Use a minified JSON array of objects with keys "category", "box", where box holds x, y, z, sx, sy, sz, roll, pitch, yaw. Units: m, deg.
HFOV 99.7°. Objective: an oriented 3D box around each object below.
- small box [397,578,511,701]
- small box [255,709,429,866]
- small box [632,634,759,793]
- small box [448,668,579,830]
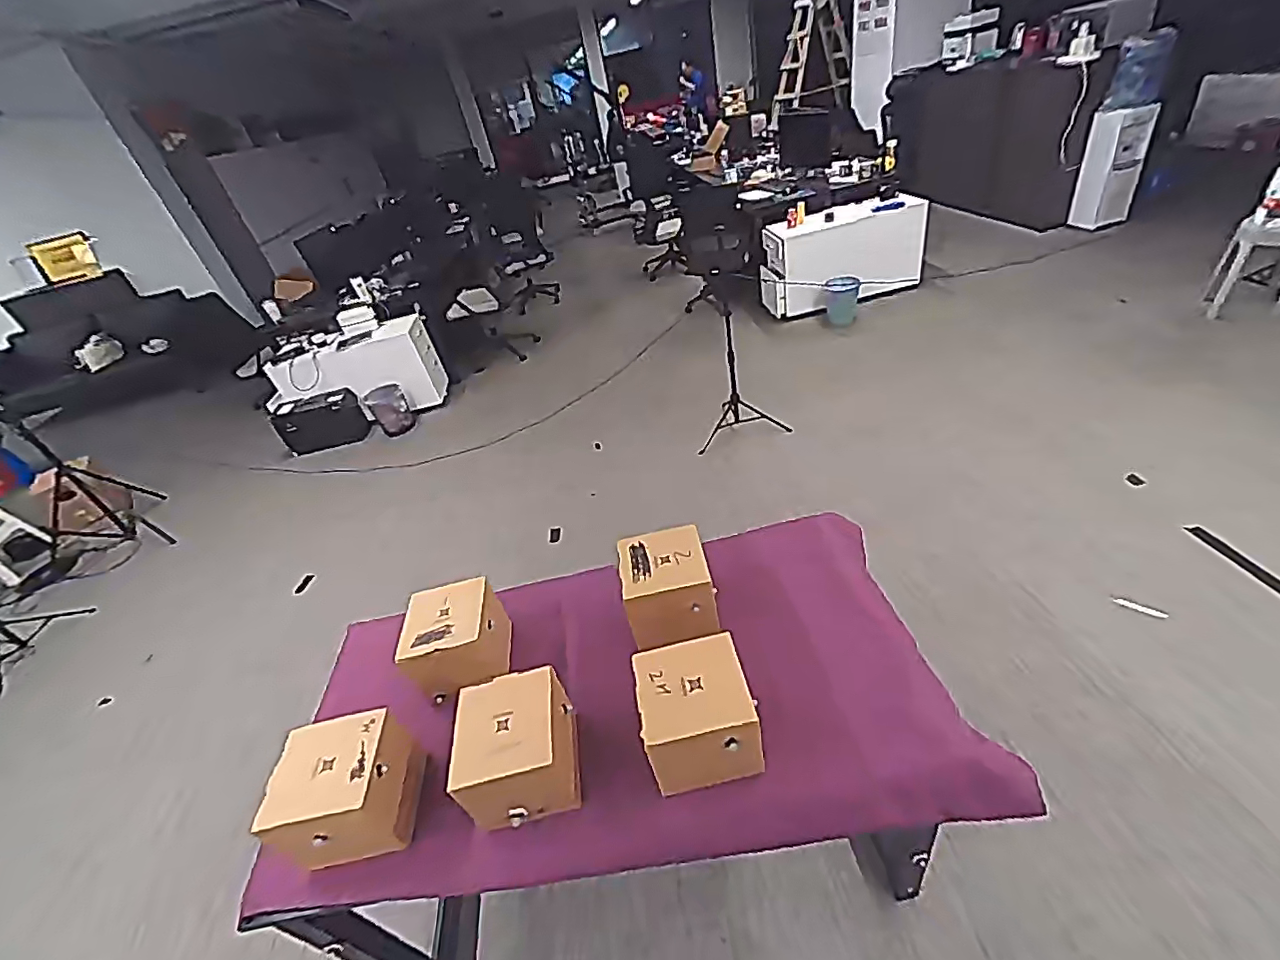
[{"category":"small box","box":[-0.381,0.341,1.140,0.168,0.176,0.179,-14,36,0]},{"category":"small box","box":[-0.494,0.528,0.927,0.179,0.176,0.168,-14,37,1]},{"category":"small box","box":[0.094,0.392,0.909,0.179,0.176,0.168,-14,36,1]},{"category":"small box","box":[-0.207,0.460,0.927,0.168,0.176,0.179,-15,38,0]}]
